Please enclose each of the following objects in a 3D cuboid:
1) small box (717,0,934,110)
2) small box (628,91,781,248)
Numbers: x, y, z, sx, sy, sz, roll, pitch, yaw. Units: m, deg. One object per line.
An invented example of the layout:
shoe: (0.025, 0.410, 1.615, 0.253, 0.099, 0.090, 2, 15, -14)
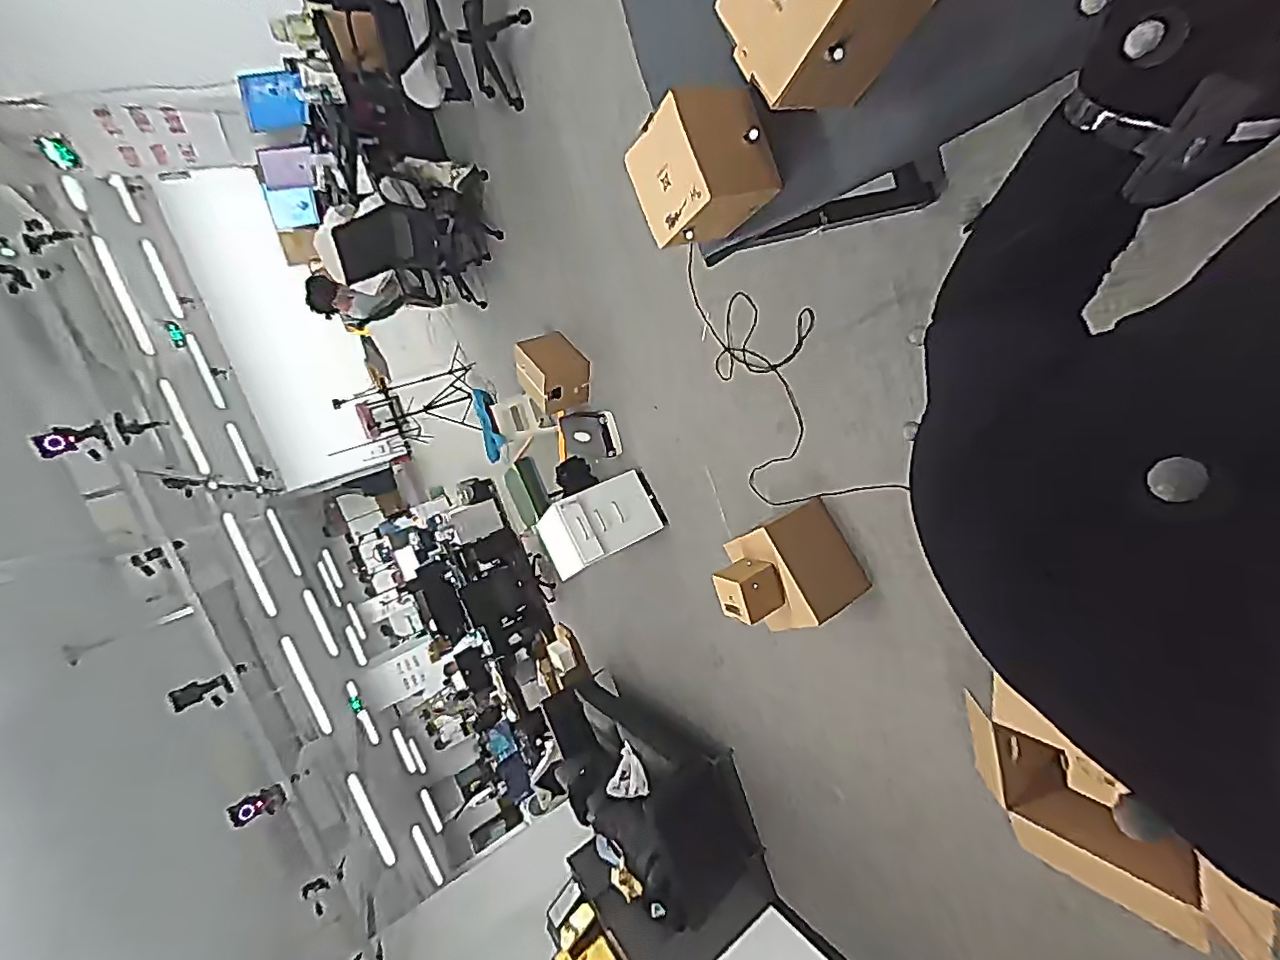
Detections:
small box: (0.234, -0.604, 0.674, 0.168, 0.176, 0.179, 63, 152, 6)
small box: (0.112, -0.536, 0.944, 0.168, 0.176, 0.179, -15, 98, 62)
